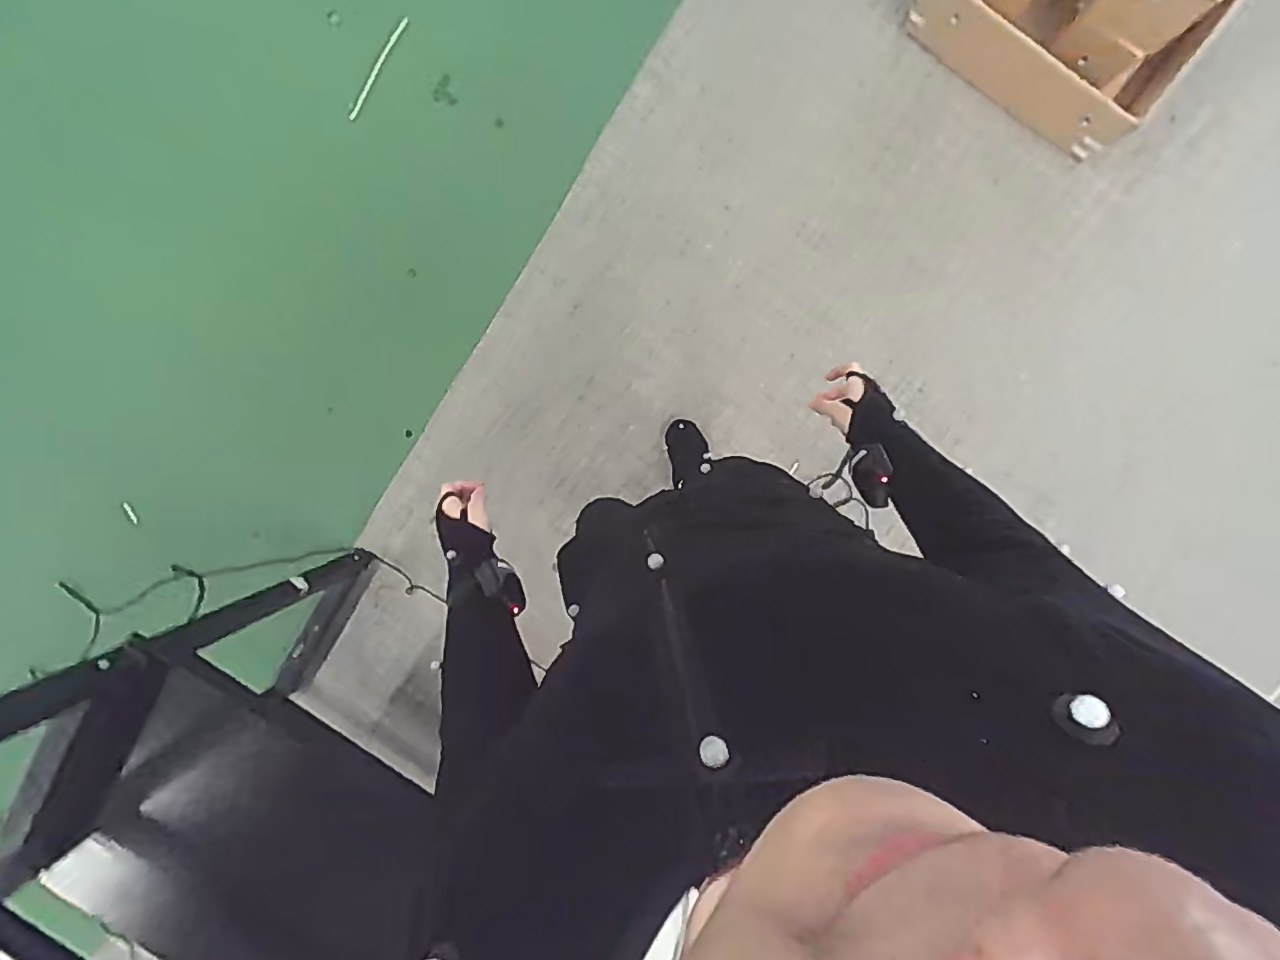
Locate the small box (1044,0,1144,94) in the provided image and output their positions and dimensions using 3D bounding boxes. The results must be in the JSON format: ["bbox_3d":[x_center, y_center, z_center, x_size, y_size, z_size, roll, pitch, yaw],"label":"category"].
[{"bbox_3d":[1.115,-1.077,1.282,0.168,0.176,0.179,37,98,0],"label":"small box"}]

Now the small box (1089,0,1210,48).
[{"bbox_3d":[1.101,-1.058,1.118,0.179,0.176,0.168,33,99,0],"label":"small box"}]

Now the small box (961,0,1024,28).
[{"bbox_3d":[0.886,-1.242,1.280,0.168,0.176,0.179,36,97,-1],"label":"small box"}]
